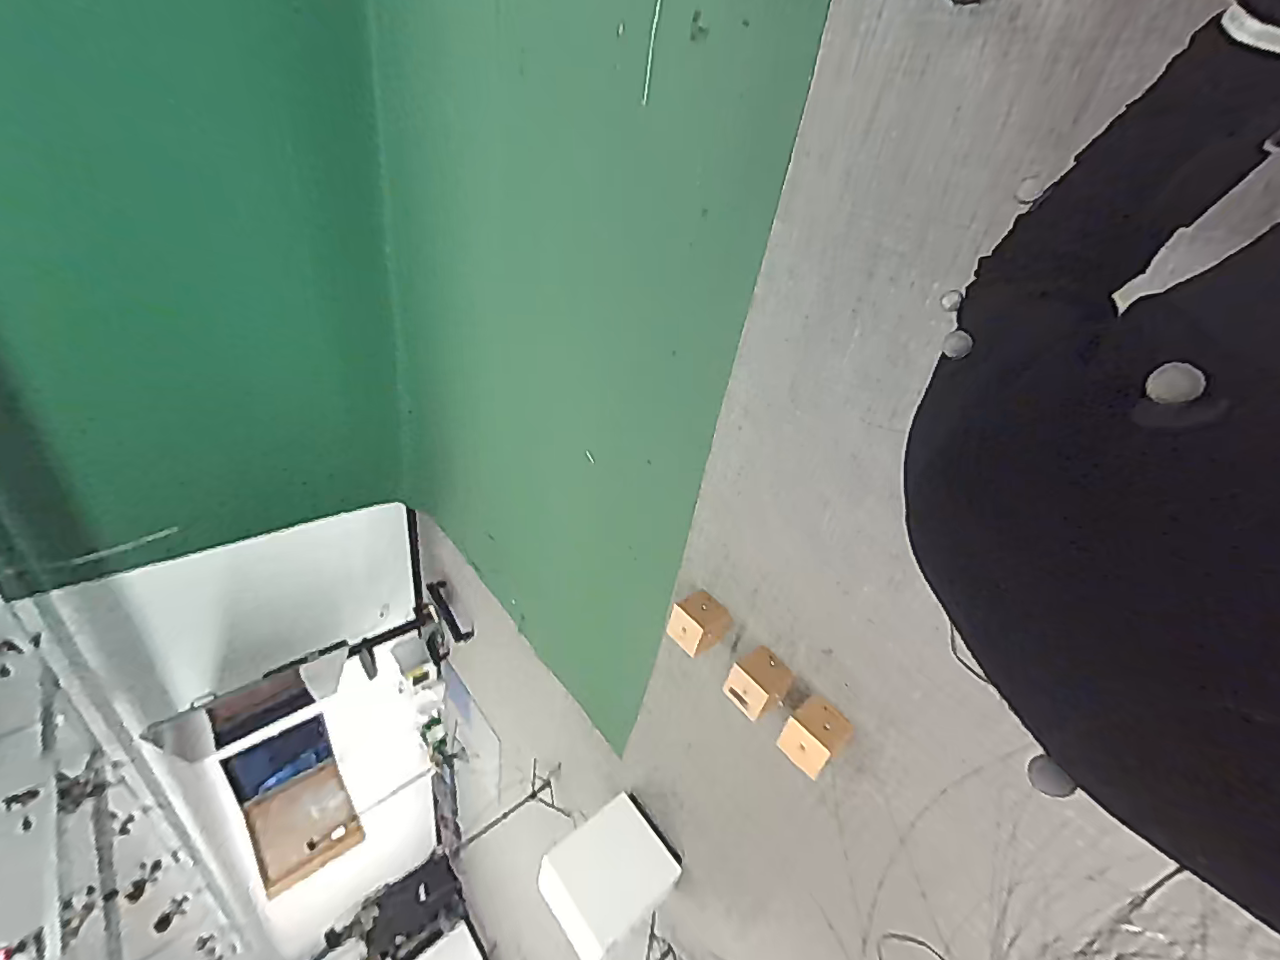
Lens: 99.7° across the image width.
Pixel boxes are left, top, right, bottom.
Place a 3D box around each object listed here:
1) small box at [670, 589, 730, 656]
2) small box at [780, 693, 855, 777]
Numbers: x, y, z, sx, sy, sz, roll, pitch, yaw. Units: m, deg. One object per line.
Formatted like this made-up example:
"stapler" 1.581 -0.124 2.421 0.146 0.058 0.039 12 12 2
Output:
"small box" 0.252 0.582 2.238 0.168 0.176 0.179 38 131 36
"small box" 0.629 0.893 1.908 0.168 0.176 0.179 37 131 35
